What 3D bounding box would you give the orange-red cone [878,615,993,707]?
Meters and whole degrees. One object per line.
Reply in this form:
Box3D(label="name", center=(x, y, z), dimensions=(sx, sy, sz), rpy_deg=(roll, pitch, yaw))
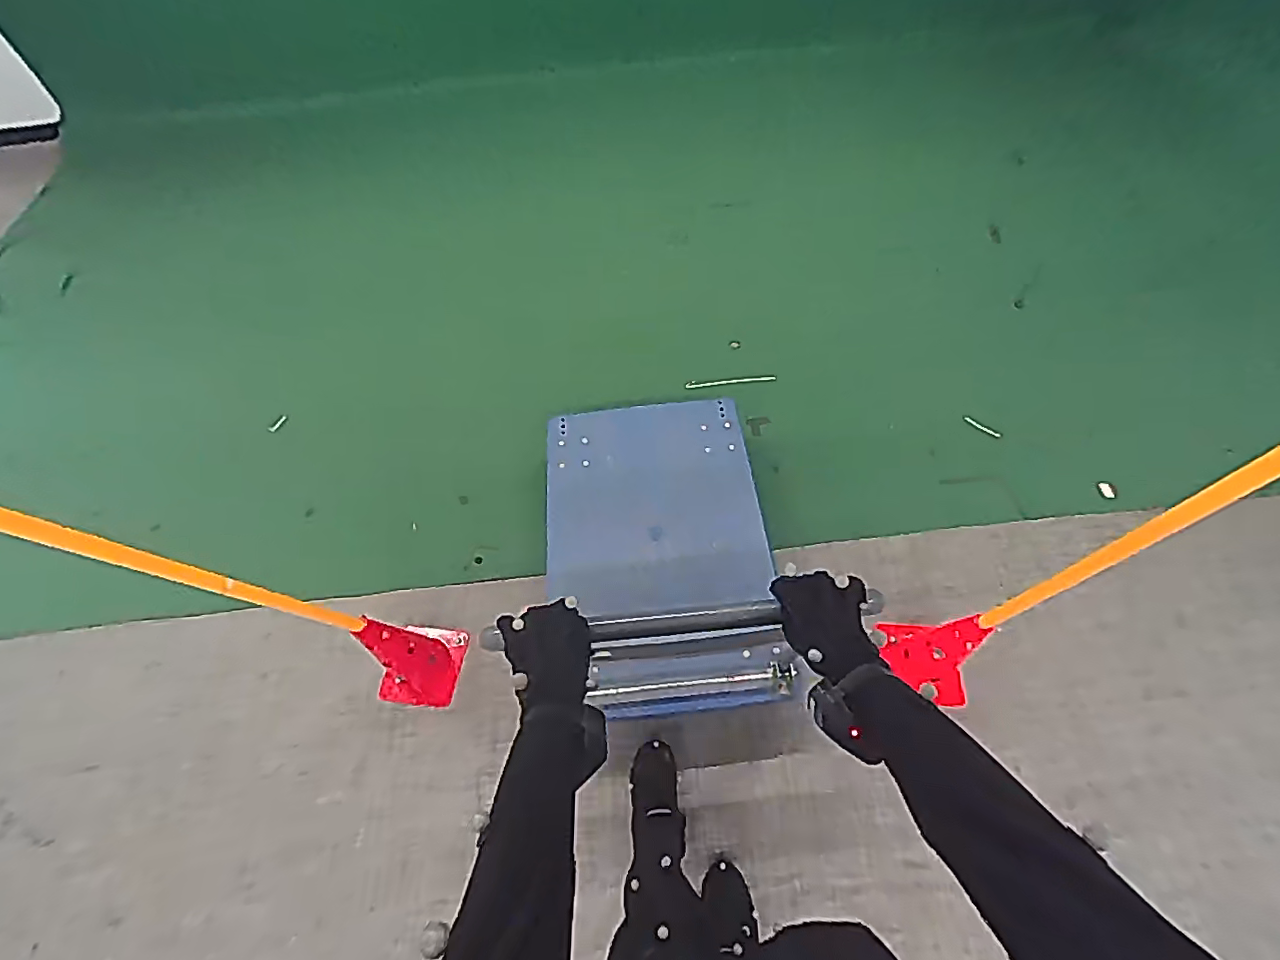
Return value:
Box3D(label="orange-red cone", center=(0.700, 0.379, 1.227), dimensions=(0.198, 0.360, 0.199), rpy_deg=(3, 60, 7))
